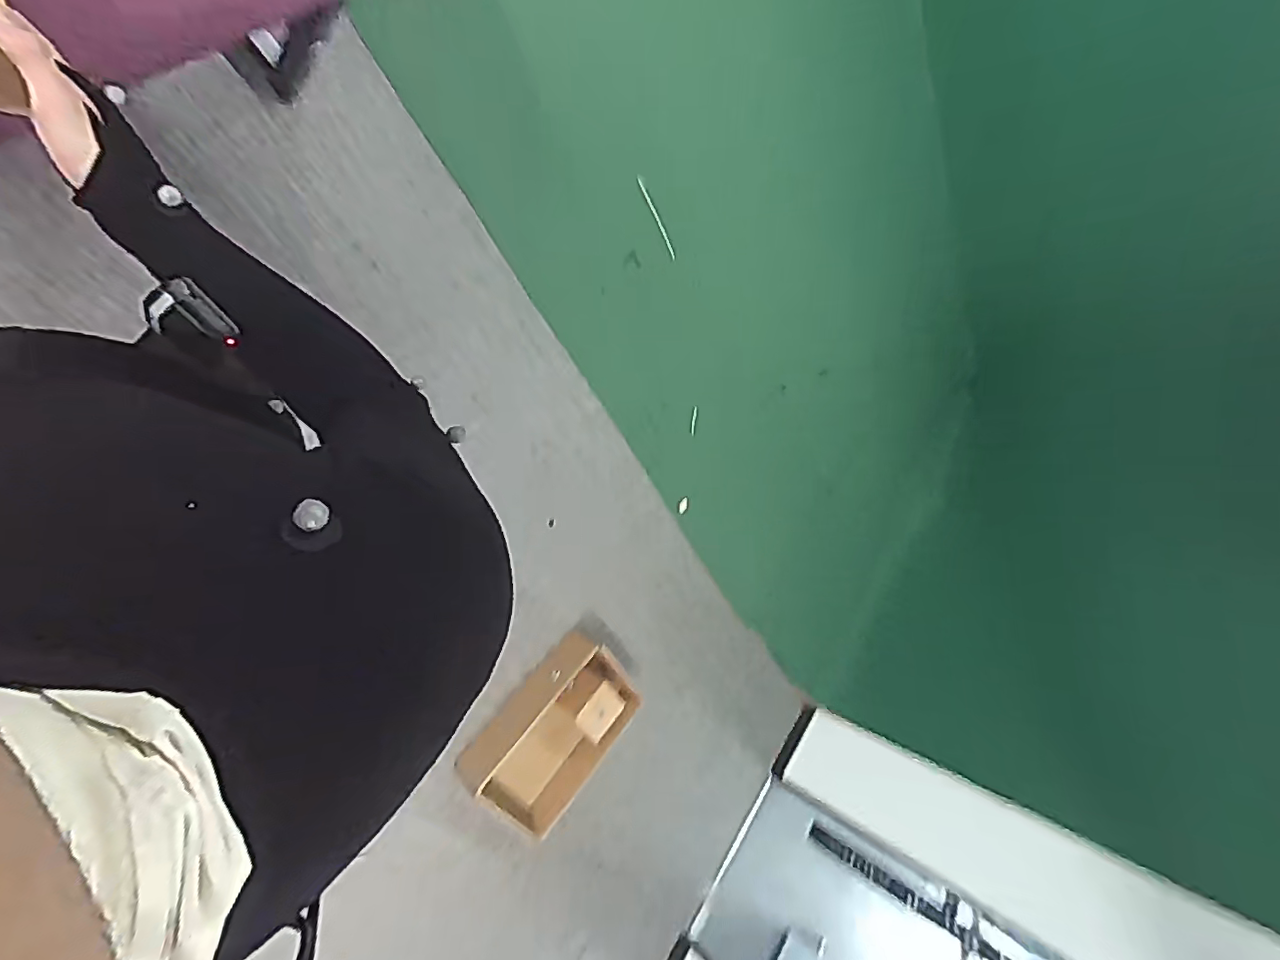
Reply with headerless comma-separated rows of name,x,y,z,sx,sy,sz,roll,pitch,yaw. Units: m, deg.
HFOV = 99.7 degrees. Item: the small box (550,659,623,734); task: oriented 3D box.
small box,-0.202,0.804,2.023,0.168,0.176,0.179,-46,126,-25
